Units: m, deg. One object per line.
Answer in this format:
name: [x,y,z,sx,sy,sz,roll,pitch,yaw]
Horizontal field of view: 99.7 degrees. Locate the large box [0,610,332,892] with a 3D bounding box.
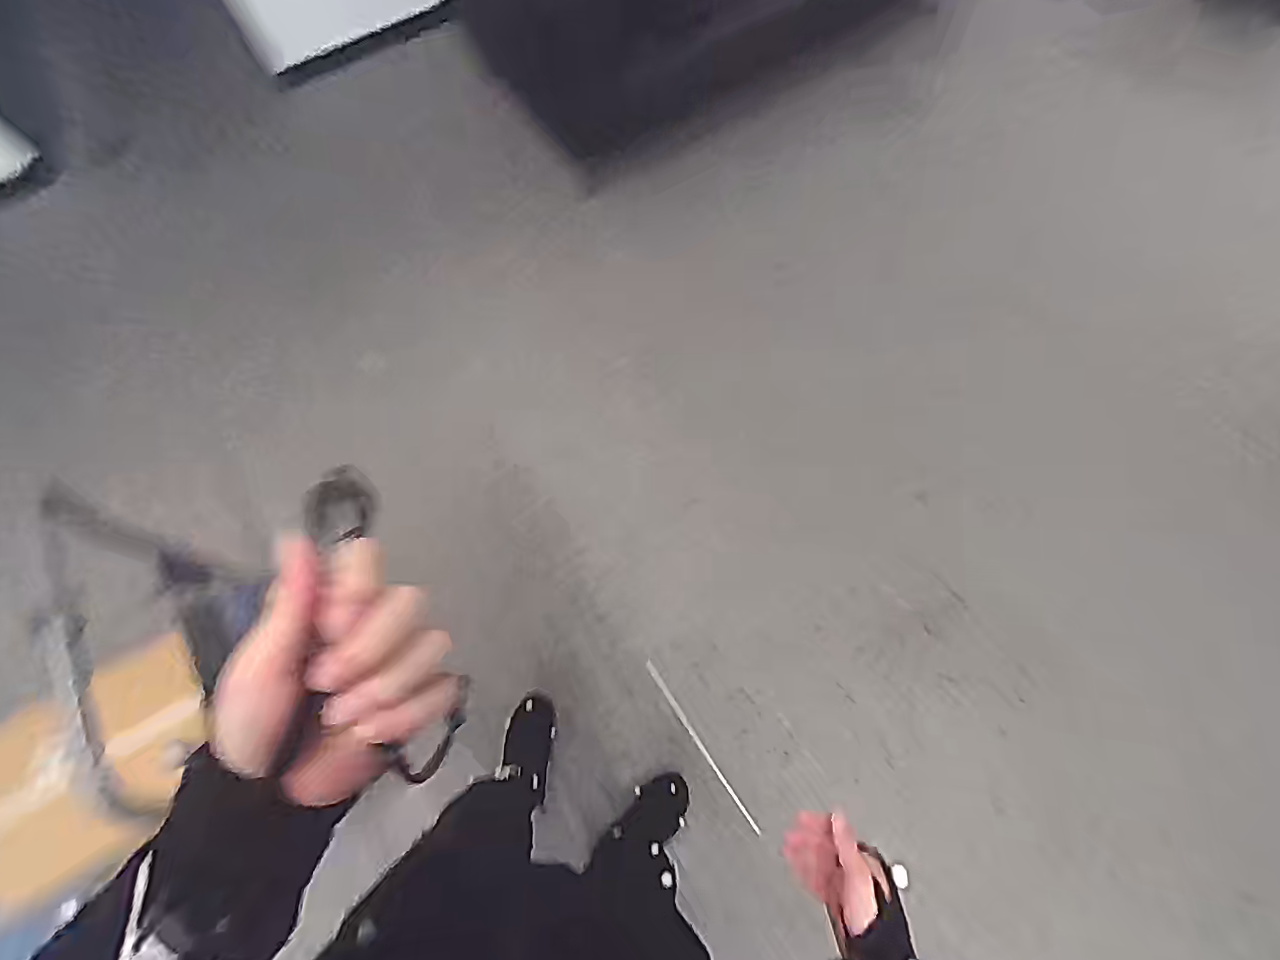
large box: [-0.952,0.518,1.117,0.408,0.320,0.320,-29,72,-9]
